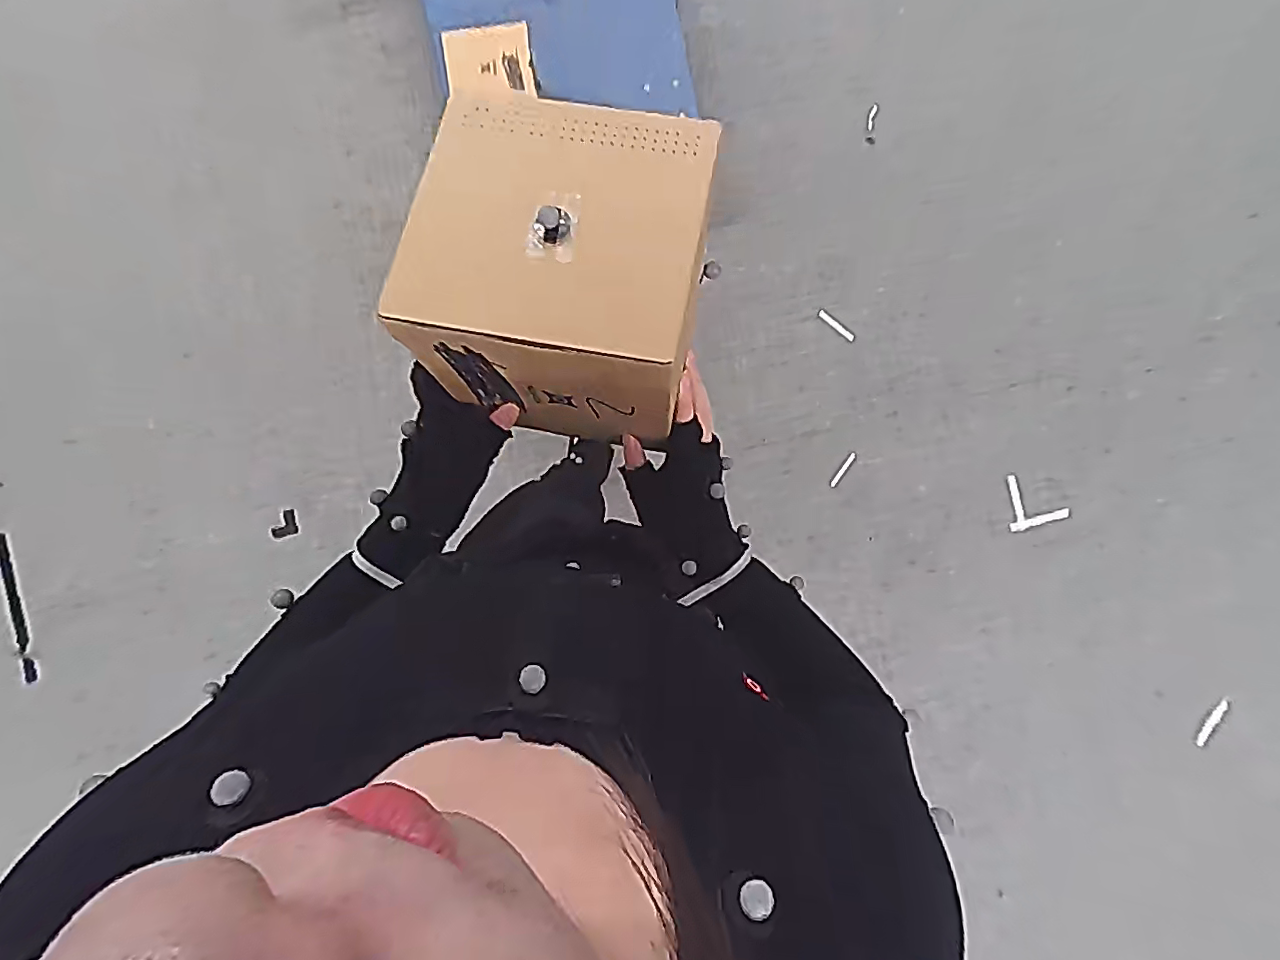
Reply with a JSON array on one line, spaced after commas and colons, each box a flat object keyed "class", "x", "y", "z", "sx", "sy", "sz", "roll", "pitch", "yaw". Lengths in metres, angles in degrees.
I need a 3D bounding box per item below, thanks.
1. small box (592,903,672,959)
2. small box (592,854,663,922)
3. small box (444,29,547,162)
[{"class": "small box", "x": -0.015, "y": 1.154, "z": 1.278, "sx": 0.179, "sy": 0.176, "sz": 0.168, "roll": -15, "pitch": 93, "yaw": -2}, {"class": "small box", "x": -0.029, "y": 1.150, "z": 1.440, "sx": 0.168, "sy": 0.176, "sz": 0.179, "roll": -11, "pitch": 92, "yaw": -2}, {"class": "small box", "x": -0.302, "y": -0.824, "z": 1.173, "sx": 0.179, "sy": 0.176, "sz": 0.168, "roll": -8, "pitch": 92, "yaw": -1}]
